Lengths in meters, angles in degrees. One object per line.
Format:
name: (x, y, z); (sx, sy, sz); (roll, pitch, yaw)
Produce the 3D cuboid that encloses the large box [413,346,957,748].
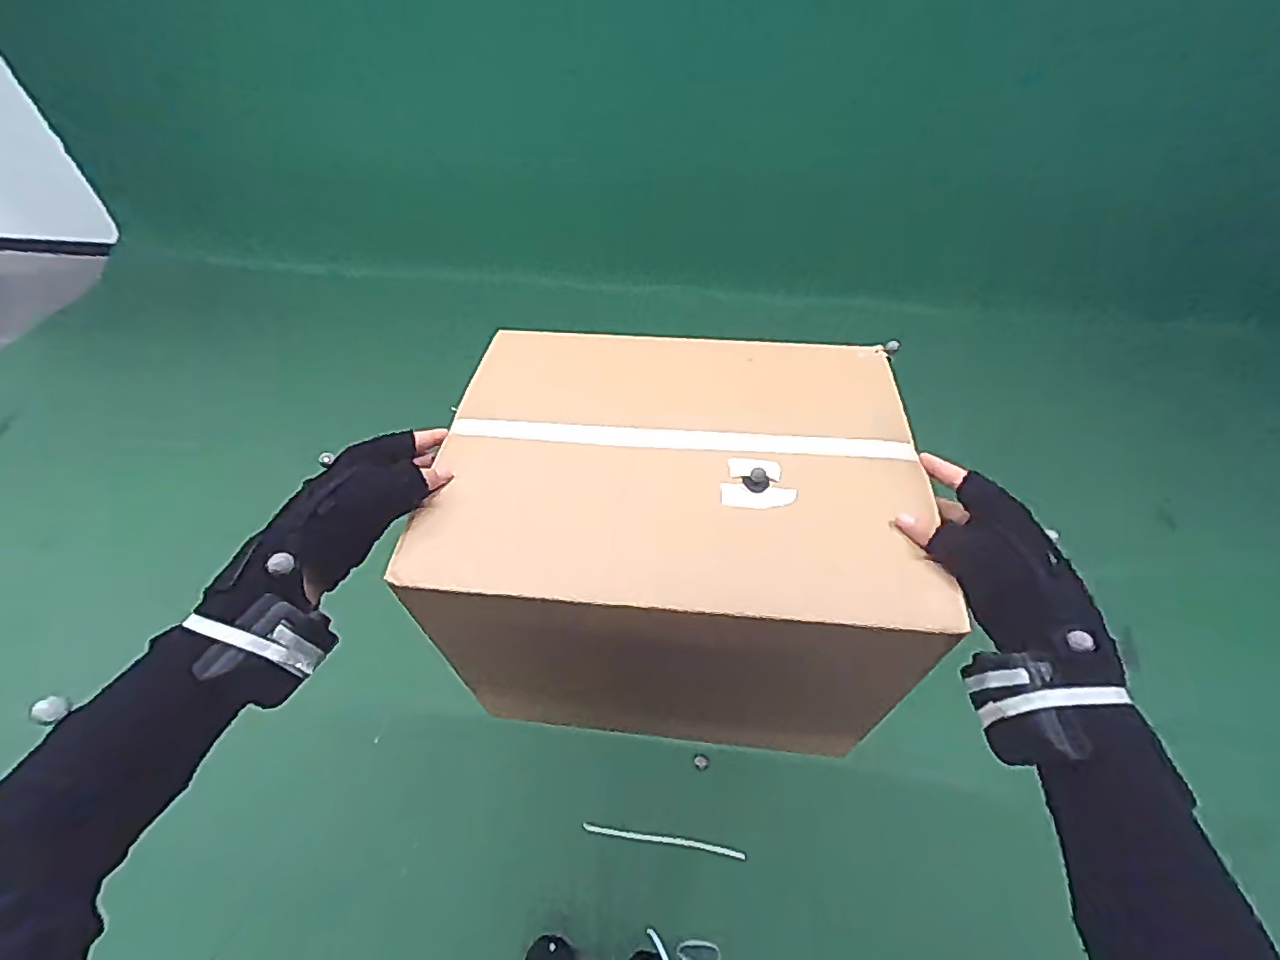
large box: (0.039, 0.076, 0.597); (0.408, 0.320, 0.320); (4, 50, 4)
